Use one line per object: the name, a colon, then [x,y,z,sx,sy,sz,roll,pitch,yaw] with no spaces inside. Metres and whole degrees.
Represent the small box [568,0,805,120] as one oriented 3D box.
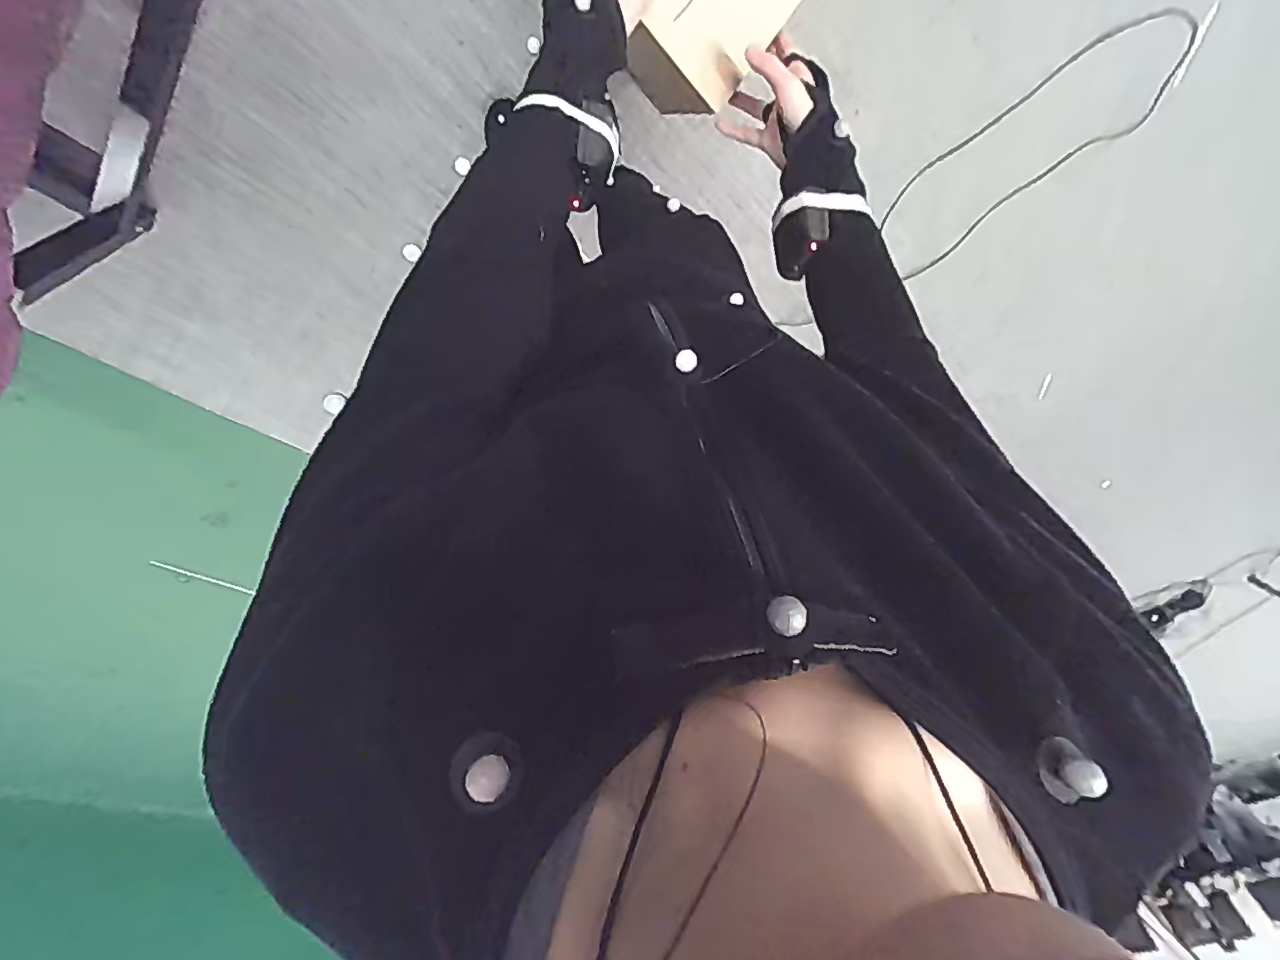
small box: [0.047,-0.504,0.544,0.168,0.176,0.179,31,108,-34]
